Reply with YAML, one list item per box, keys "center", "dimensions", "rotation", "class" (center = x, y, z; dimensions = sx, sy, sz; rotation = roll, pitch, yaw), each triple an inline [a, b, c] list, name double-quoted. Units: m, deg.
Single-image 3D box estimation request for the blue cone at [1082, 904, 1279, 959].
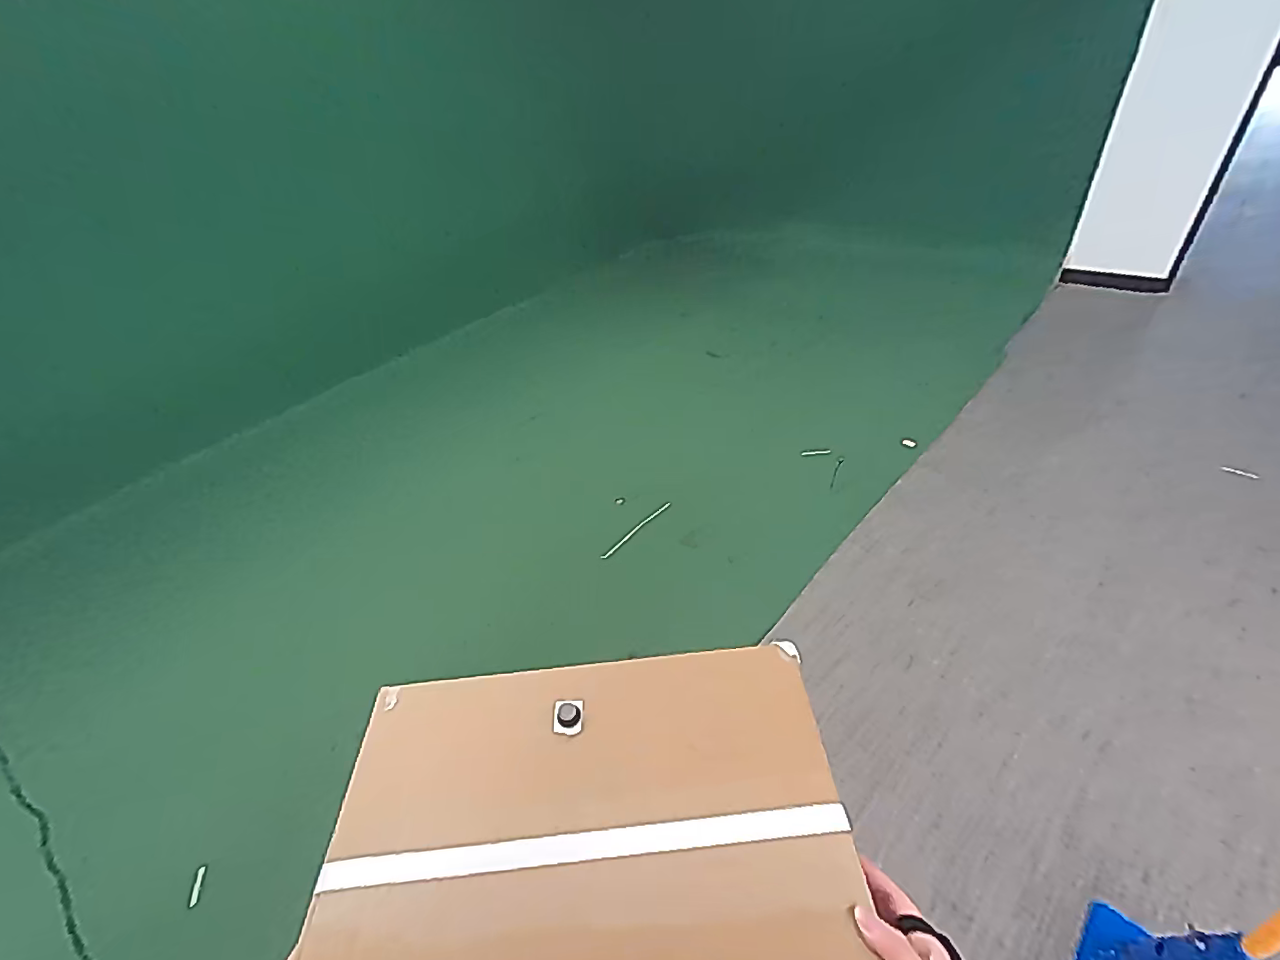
- center: [0.912, 0.803, 0.893]
  dimensions: [0.192, 0.380, 0.193]
  rotation: [25, 50, 35]
  class: "blue cone"
